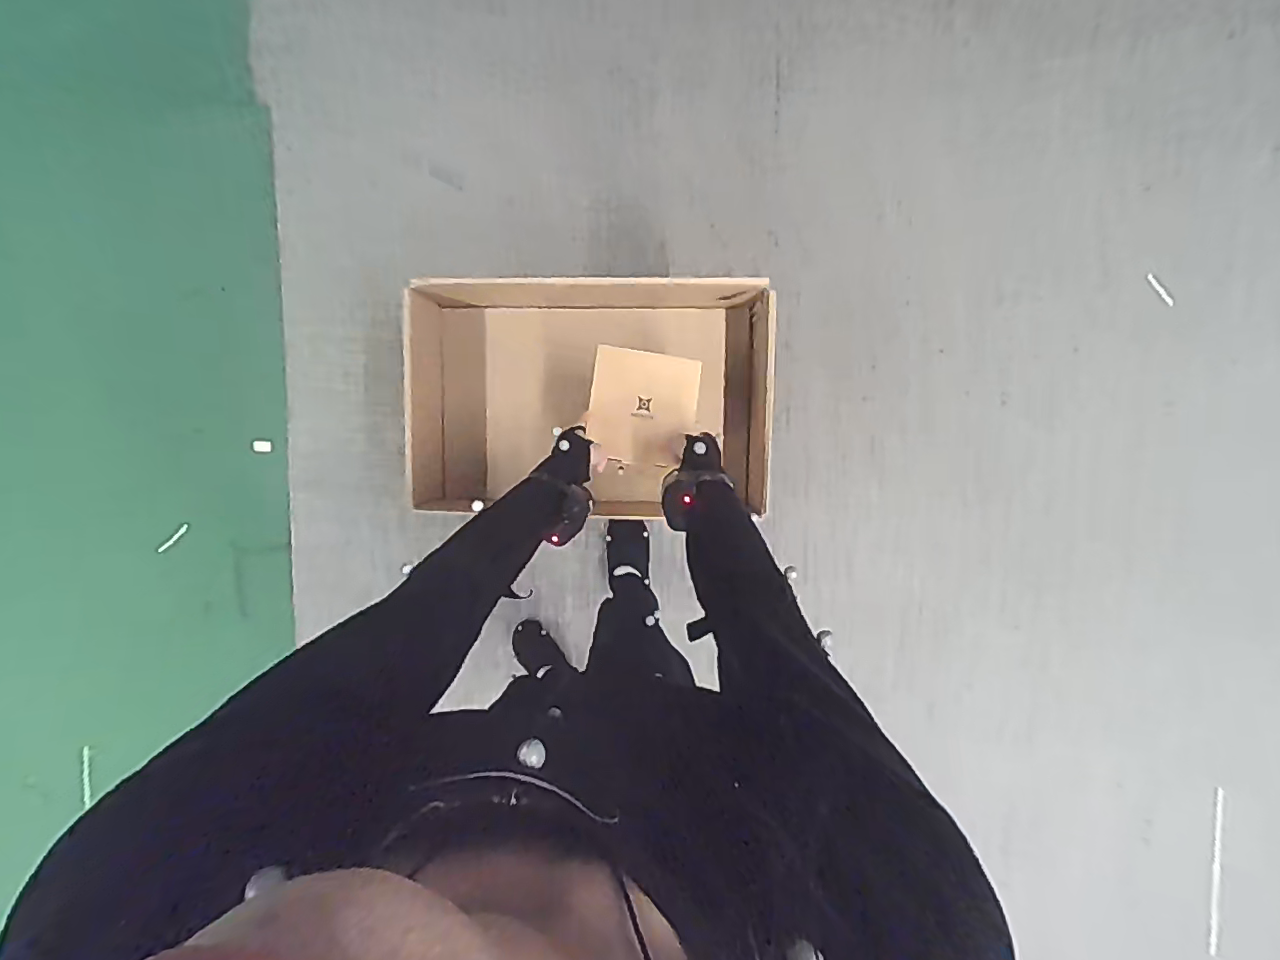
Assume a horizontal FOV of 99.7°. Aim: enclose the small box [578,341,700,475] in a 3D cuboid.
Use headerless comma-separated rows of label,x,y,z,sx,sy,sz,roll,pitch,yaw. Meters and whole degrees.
small box,-0.009,-0.108,0.890,0.168,0.176,0.179,8,87,-8
